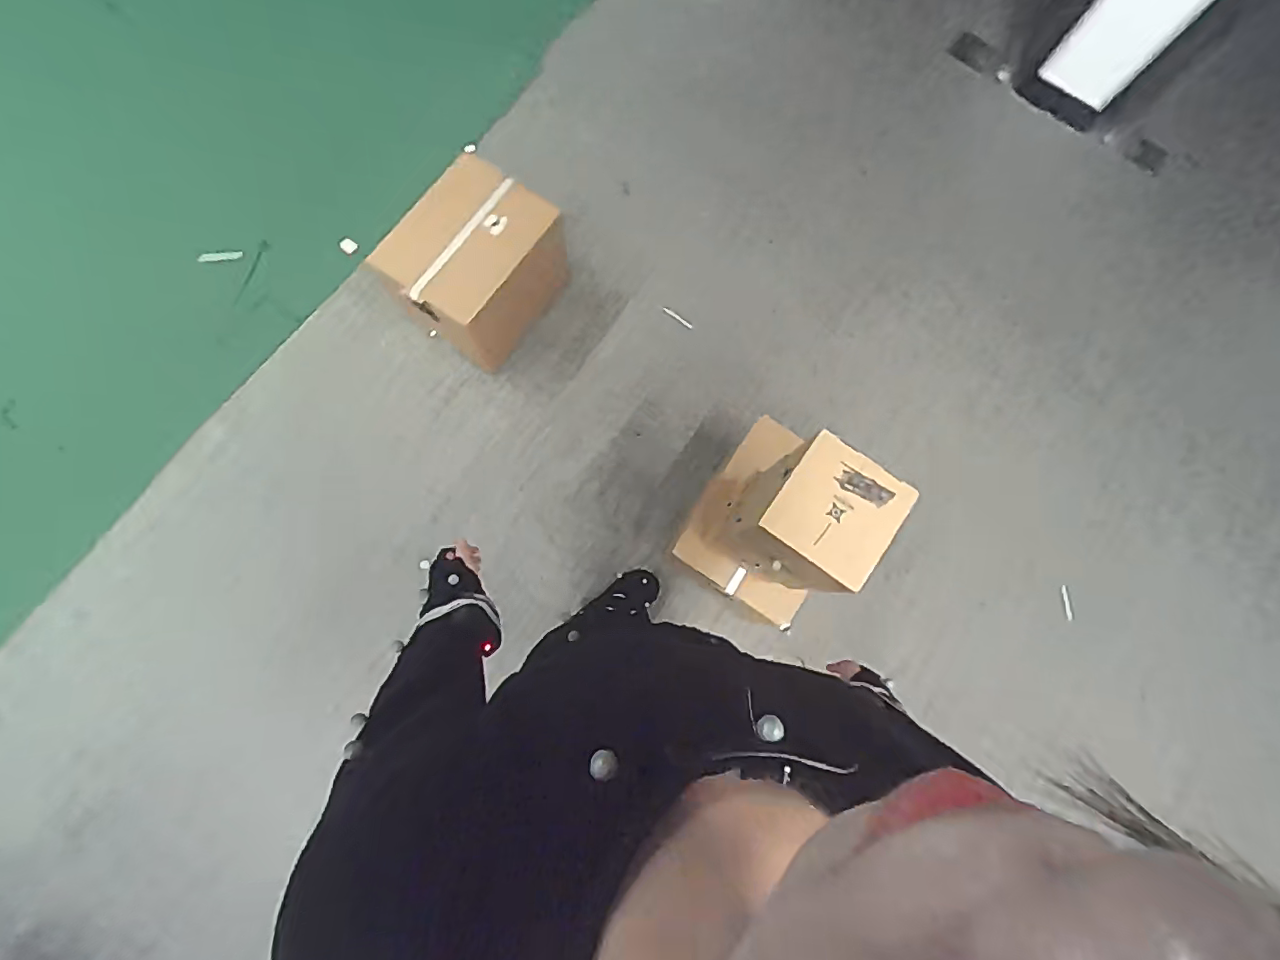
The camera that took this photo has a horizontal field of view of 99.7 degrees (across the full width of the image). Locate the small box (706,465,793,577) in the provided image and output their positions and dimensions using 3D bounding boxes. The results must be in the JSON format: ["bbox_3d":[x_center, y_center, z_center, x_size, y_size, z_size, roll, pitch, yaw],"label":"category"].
[{"bbox_3d":[0.264,0.093,1.162,0.179,0.176,0.168,33,80,4],"label":"small box"}]

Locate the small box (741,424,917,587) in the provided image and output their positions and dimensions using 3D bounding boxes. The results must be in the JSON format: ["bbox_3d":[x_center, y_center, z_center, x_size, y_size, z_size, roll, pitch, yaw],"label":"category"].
[{"bbox_3d":[0.276,0.046,0.835,0.168,0.176,0.179,36,81,5],"label":"small box"}]

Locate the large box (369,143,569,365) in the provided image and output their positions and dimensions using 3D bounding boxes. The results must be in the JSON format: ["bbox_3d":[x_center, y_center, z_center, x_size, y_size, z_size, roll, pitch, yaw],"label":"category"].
[{"bbox_3d":[-0.443,-0.604,1.497,0.320,0.320,0.408,34,79,4],"label":"large box"}]
